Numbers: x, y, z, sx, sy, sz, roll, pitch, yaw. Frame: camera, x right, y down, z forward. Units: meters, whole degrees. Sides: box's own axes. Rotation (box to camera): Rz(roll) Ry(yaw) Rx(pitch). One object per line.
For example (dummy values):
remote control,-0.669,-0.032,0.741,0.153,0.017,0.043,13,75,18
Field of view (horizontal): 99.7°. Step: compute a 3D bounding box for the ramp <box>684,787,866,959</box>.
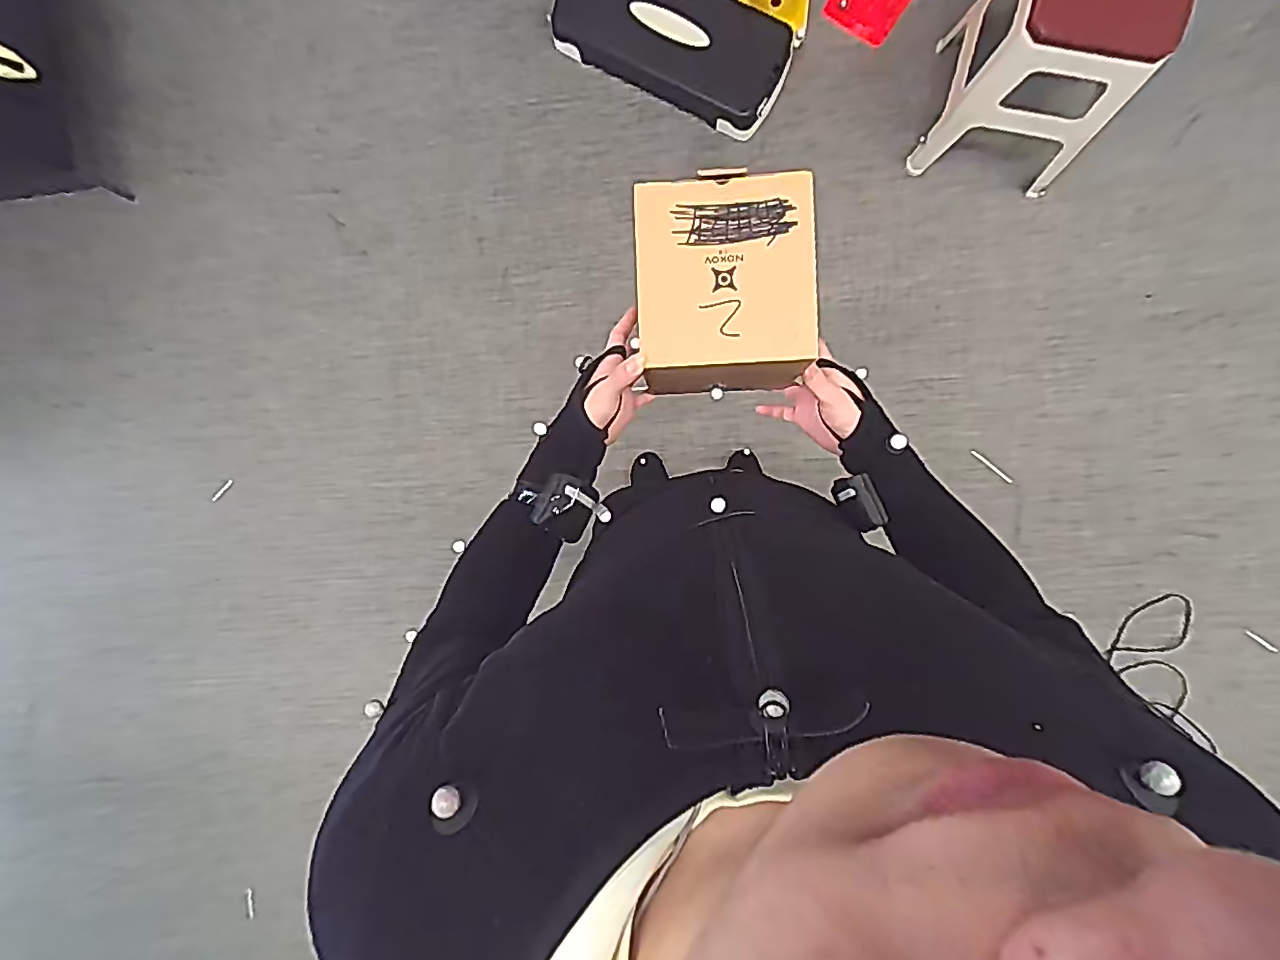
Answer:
ramp,0.408,1.434,1.575,0.509,0.206,0.991,-7,91,7
